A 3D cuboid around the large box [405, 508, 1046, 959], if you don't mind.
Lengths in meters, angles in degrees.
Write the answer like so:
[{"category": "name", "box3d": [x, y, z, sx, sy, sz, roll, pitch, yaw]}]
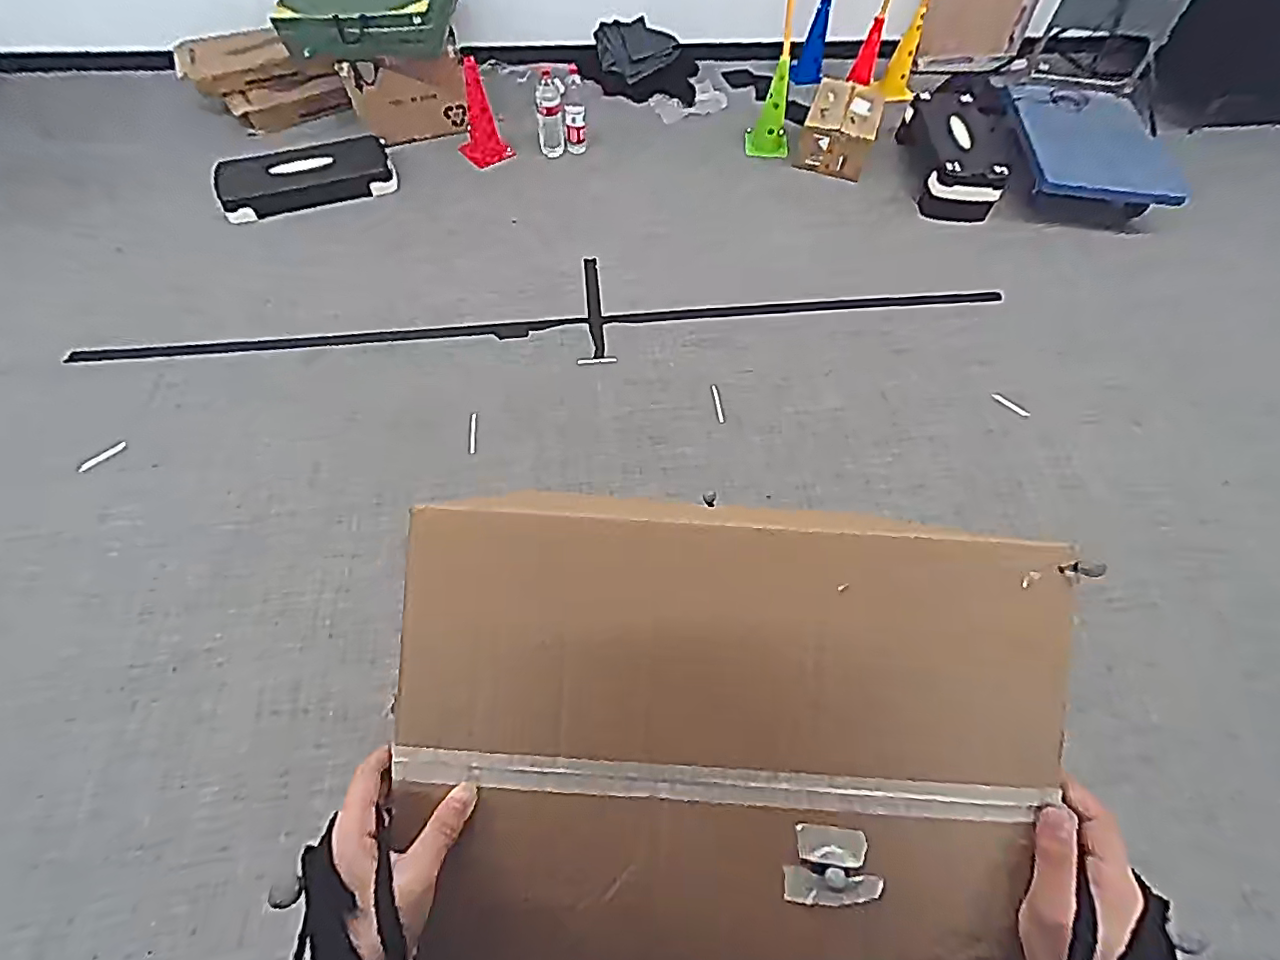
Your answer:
[{"category": "large box", "box3d": [0.052, 0.189, 0.491, 0.408, 0.320, 0.320, 3, 91, 0]}]
